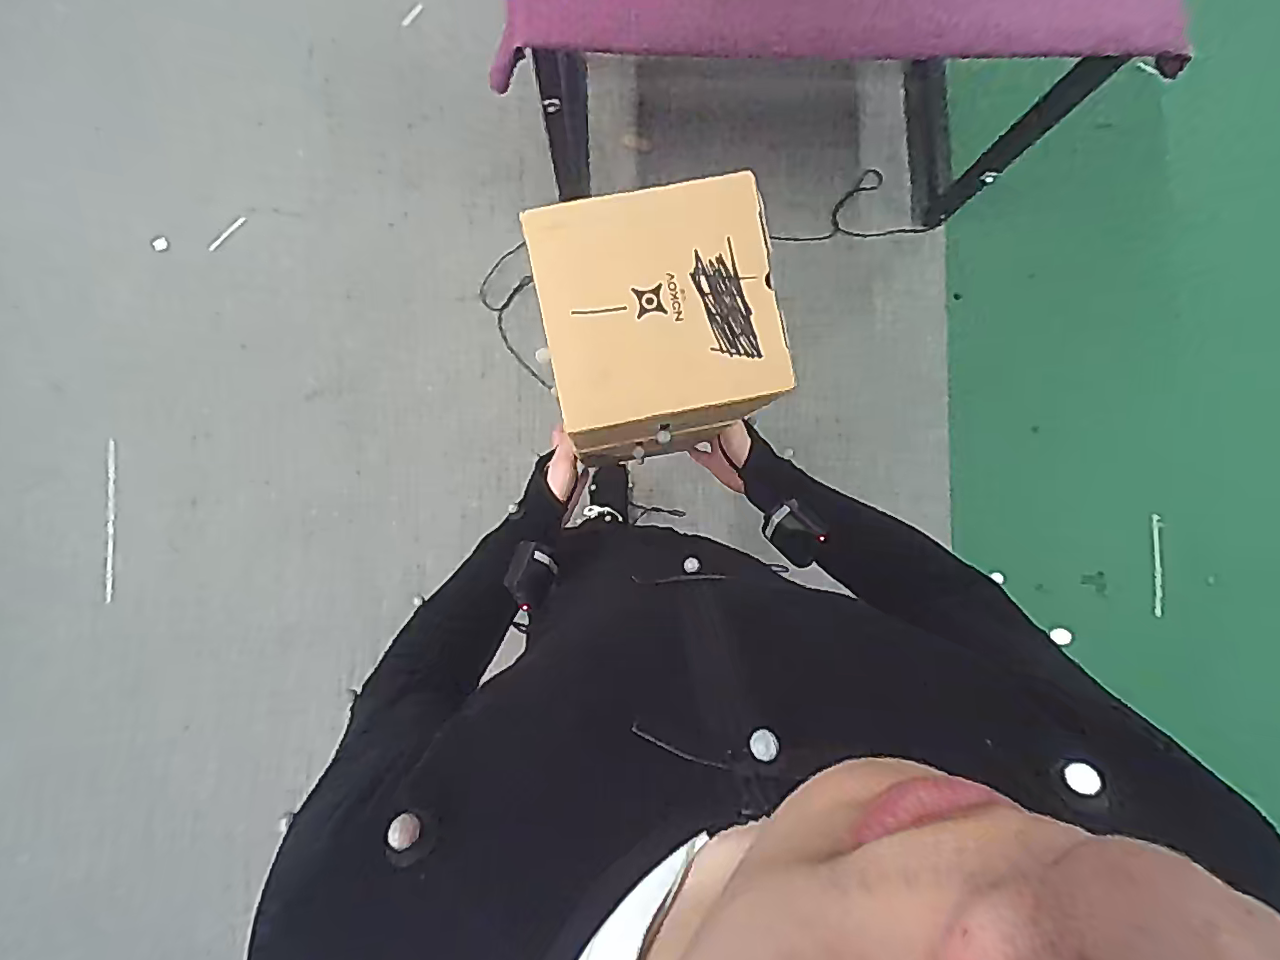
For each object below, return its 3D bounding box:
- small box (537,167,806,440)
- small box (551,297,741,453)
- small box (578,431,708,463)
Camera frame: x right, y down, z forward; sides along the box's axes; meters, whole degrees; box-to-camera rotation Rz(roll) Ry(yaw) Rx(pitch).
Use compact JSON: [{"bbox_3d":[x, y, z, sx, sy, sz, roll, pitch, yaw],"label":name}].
[{"bbox_3d":[0.018,-0.135,0.470,0.179,0.176,0.168,-11,89,-4],"label":"small box"},{"bbox_3d":[0.003,-0.128,0.634,0.179,0.176,0.168,-11,90,-4],"label":"small box"},{"bbox_3d":[-0.010,-0.121,0.796,0.179,0.176,0.168,-9,89,-5],"label":"small box"}]
